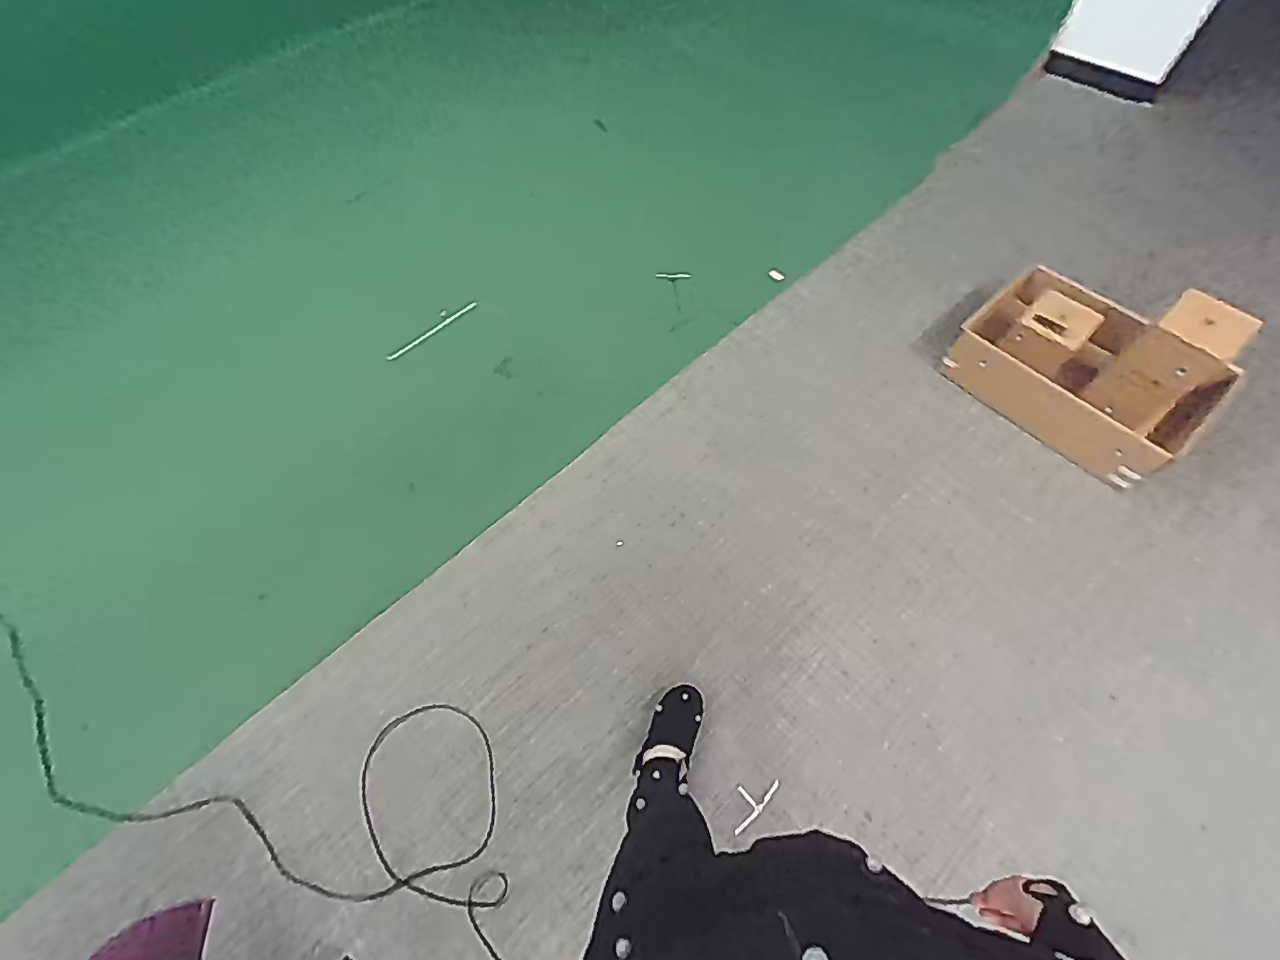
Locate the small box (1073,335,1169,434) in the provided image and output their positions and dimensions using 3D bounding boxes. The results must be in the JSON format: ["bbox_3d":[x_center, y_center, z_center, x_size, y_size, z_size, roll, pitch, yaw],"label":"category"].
[{"bbox_3d":[1.379,-0.265,1.519,0.179,0.176,0.168,-39,64,-15],"label":"small box"}]

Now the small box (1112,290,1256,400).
[{"bbox_3d":[1.365,-0.337,1.374,0.179,0.176,0.168,-39,65,-15],"label":"small box"}]
